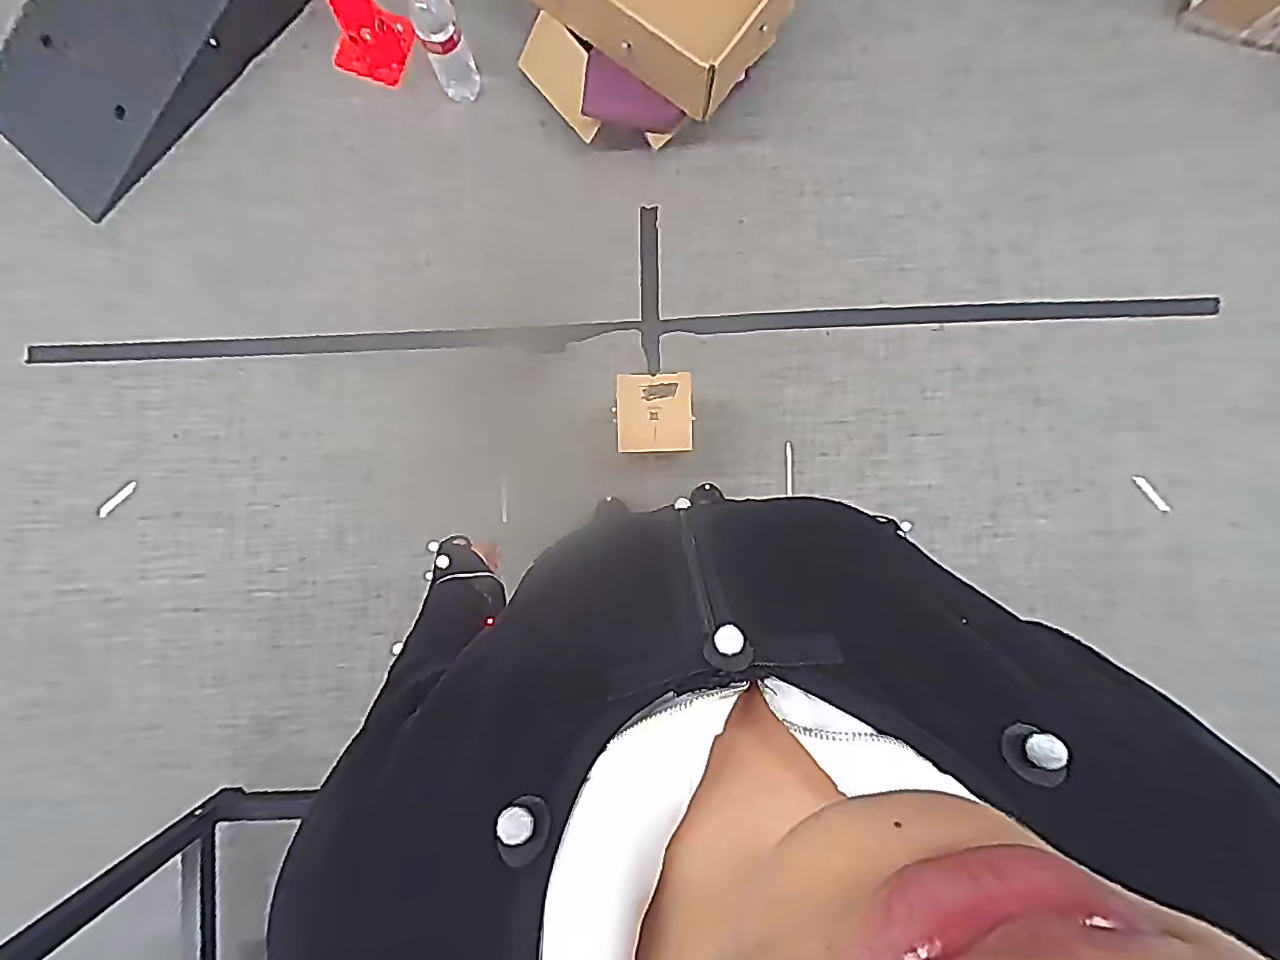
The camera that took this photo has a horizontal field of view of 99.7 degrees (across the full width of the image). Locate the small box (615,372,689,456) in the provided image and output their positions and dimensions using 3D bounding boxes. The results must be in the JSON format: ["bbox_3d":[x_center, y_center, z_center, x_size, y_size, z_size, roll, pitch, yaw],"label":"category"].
[{"bbox_3d":[0.024,-0.150,1.268,0.168,0.176,0.179,-1,91,0],"label":"small box"}]
